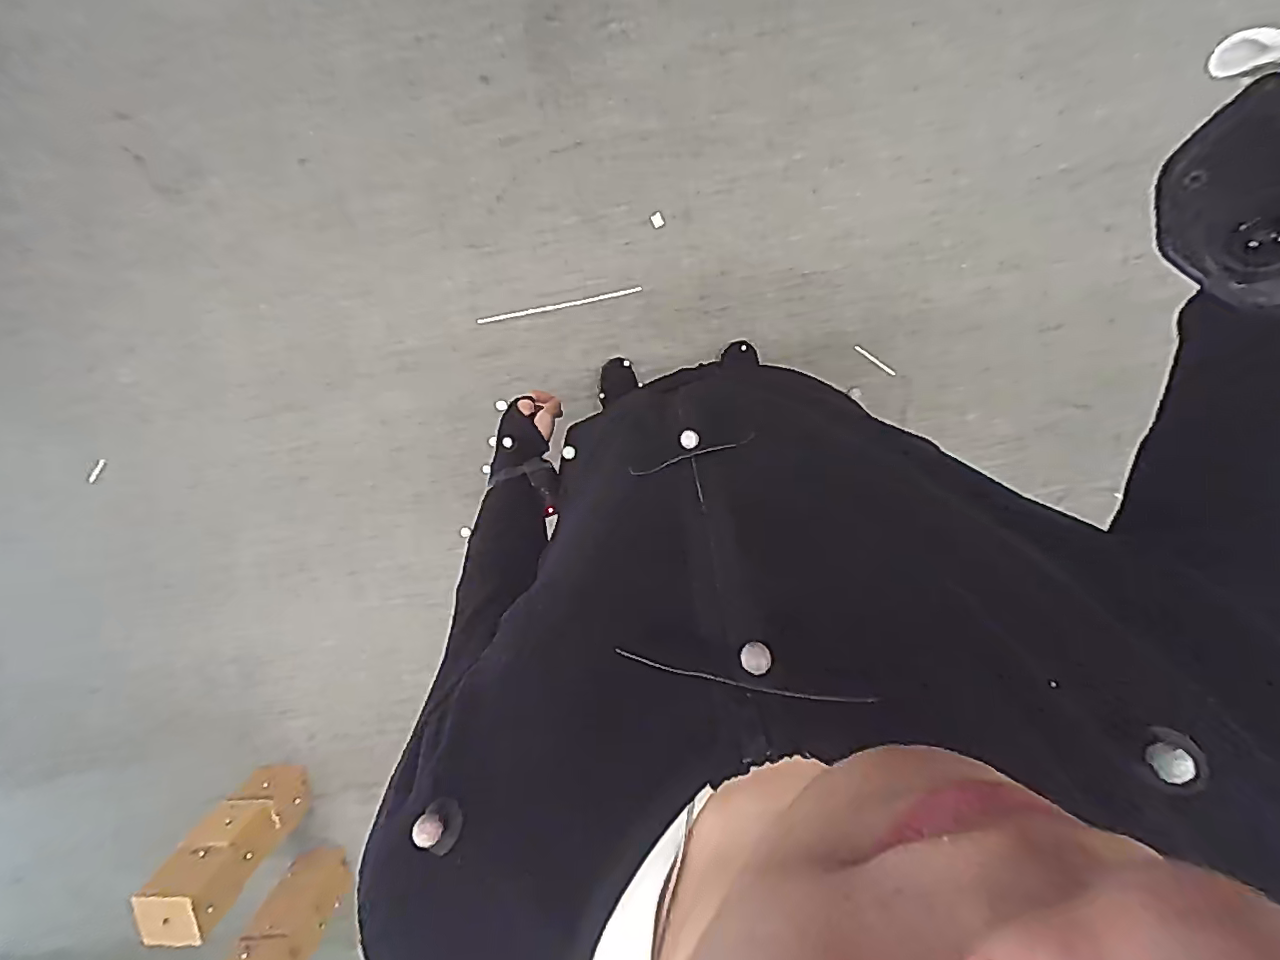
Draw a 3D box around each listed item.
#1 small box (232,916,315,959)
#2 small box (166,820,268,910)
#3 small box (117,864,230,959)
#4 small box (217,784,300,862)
[{"bbox_3d":[-1.198,1.565,1.760,0.179,0.176,0.168,-11,101,5],"label":"small box"},{"bbox_3d":[-1.307,1.192,1.682,0.168,0.176,0.179,-4,103,3],"label":"small box"},{"bbox_3d":[-1.301,1.231,1.524,0.168,0.176,0.179,0,103,1],"label":"small box"},{"bbox_3d":[-1.293,1.166,1.842,0.179,0.176,0.168,-3,102,1],"label":"small box"}]
